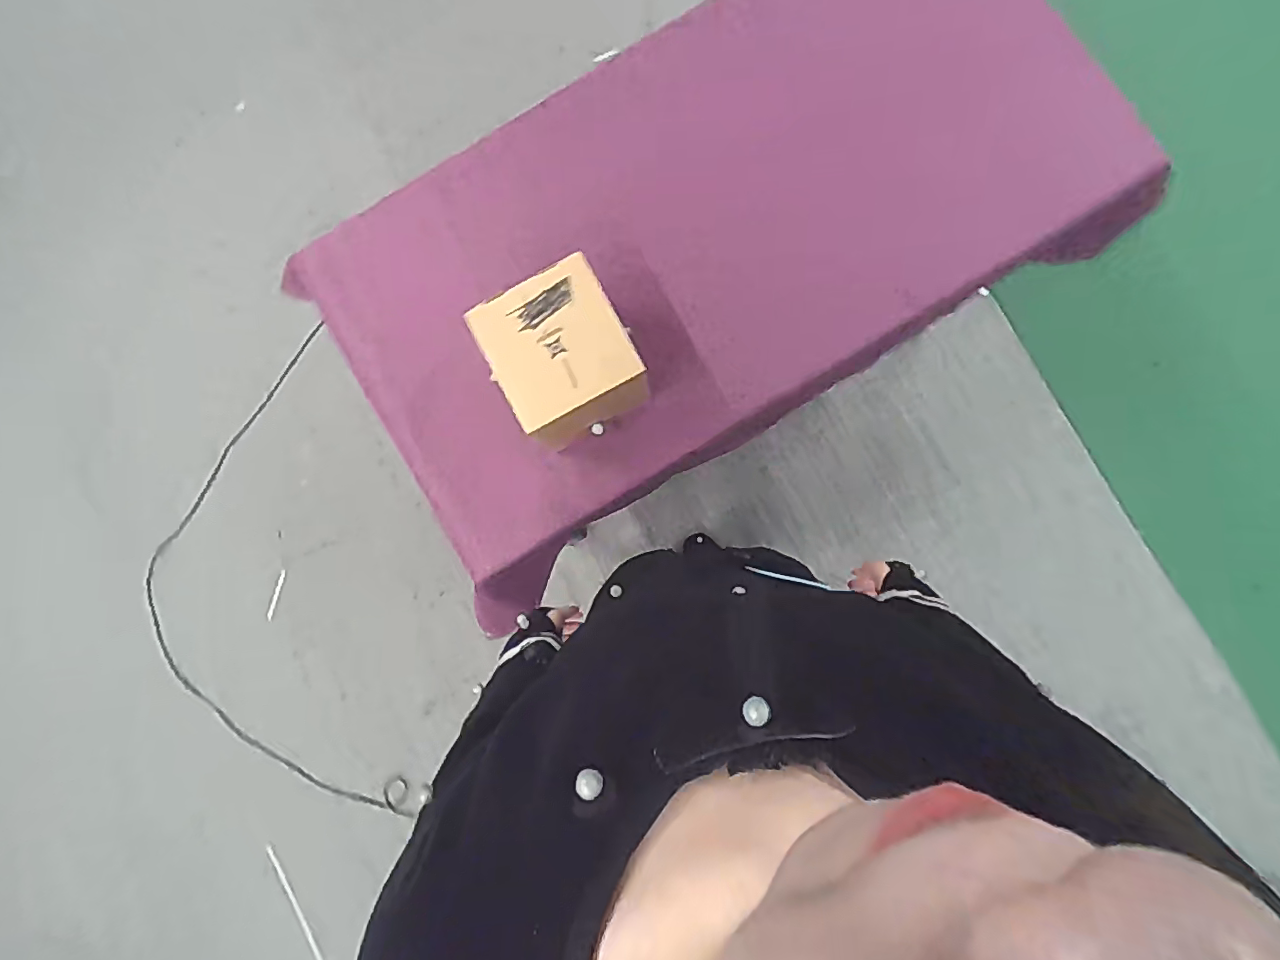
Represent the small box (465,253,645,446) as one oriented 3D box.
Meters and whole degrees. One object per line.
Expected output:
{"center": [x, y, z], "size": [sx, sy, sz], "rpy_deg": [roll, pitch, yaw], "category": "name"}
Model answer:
{"center": [-0.105, -0.164, 0.739], "size": [0.168, 0.176, 0.179], "rpy_deg": [-29, 86, 1], "category": "small box"}
